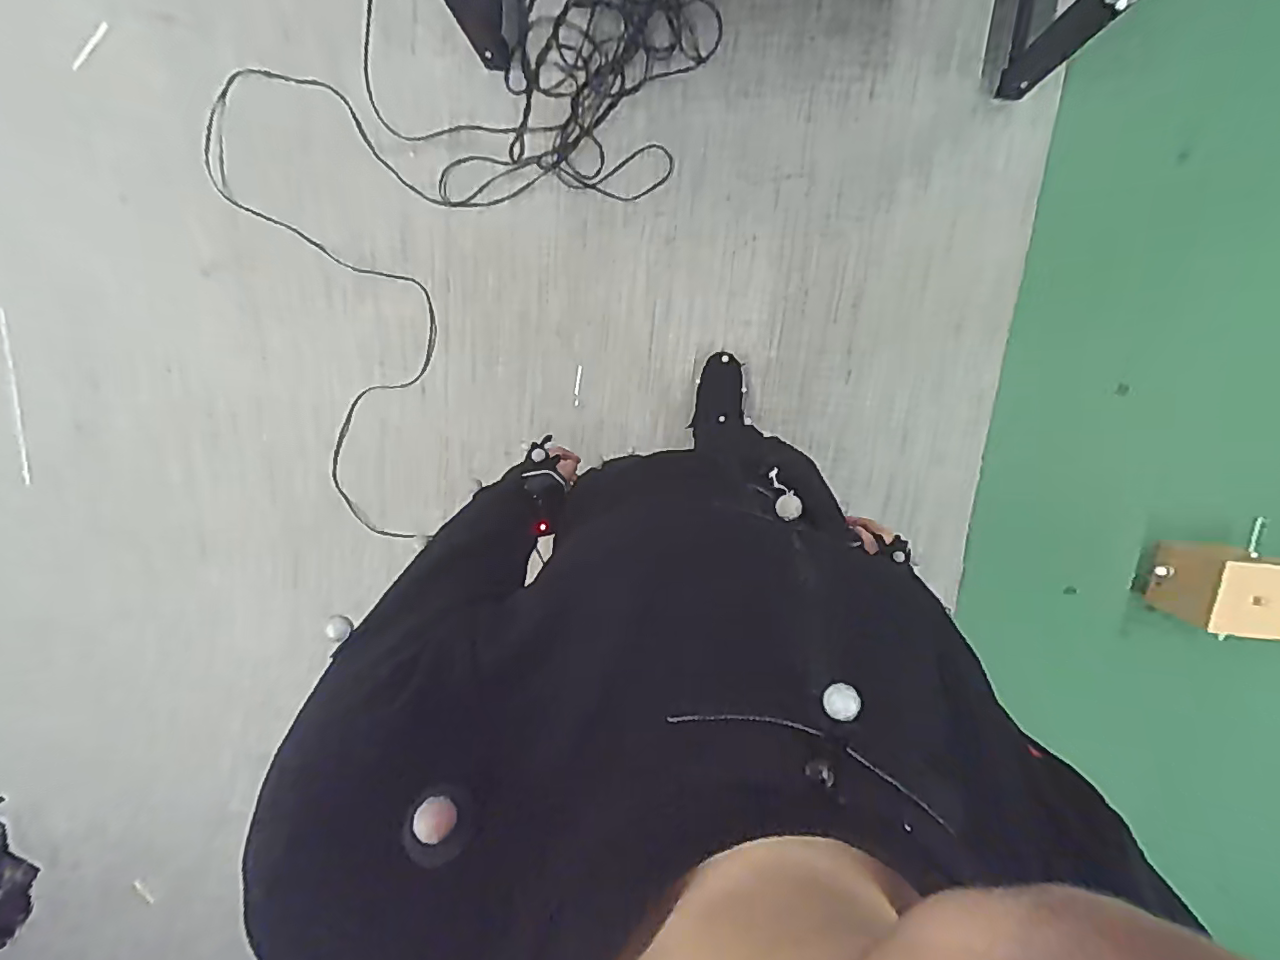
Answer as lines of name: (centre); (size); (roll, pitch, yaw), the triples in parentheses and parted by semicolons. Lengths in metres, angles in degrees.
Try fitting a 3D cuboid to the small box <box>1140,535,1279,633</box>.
small box: (1.322, 0.231, 1.240); (0.179, 0.176, 0.168); (5, 100, 4)
